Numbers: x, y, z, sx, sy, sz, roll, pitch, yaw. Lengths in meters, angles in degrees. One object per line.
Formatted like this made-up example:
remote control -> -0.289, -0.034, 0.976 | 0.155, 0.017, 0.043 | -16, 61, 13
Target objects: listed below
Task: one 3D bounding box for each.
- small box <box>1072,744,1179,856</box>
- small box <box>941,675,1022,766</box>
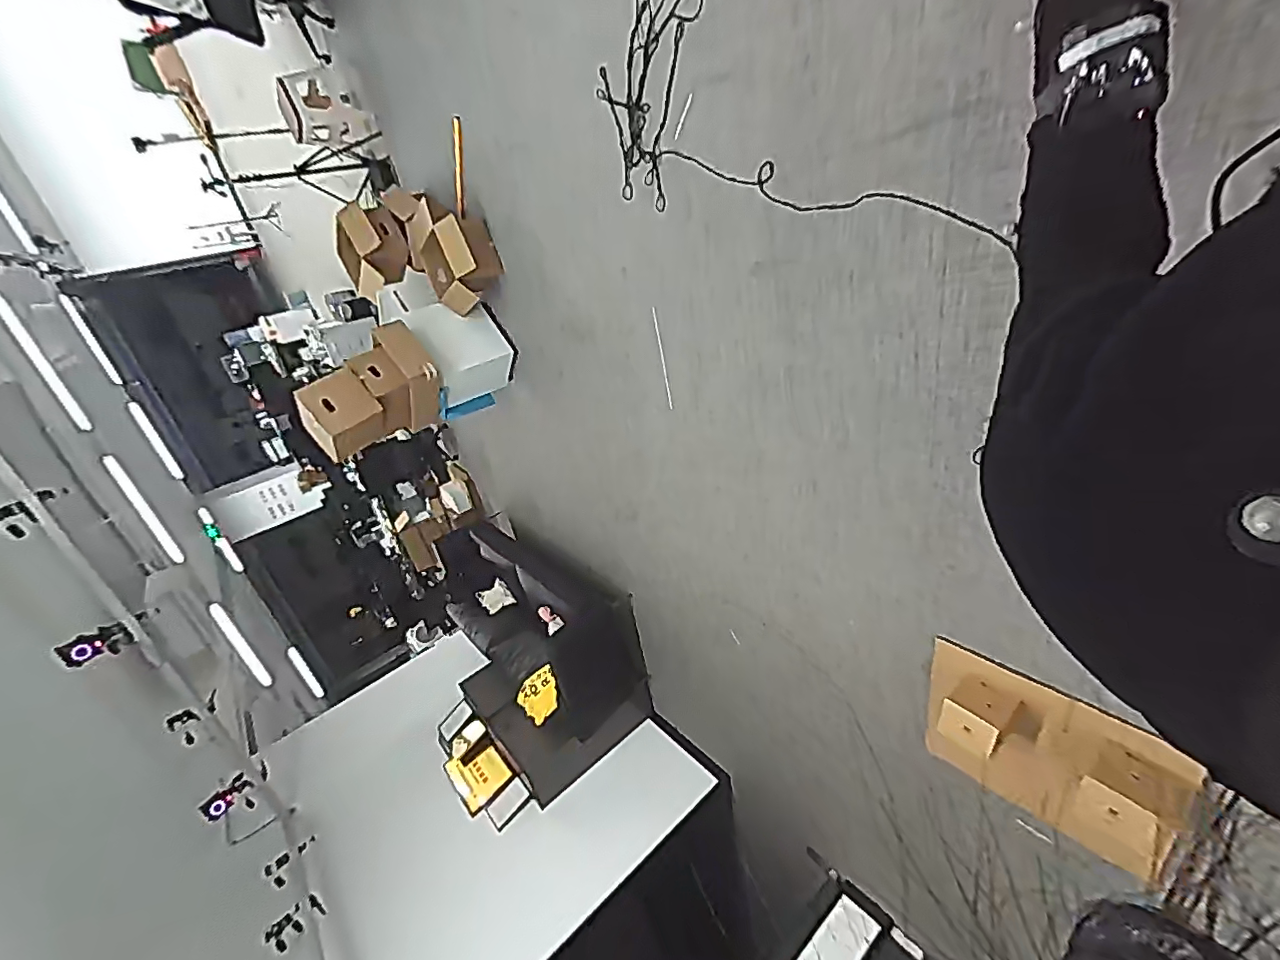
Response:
small box -> 1.362, 0.887, 1.515 | 0.168, 0.176, 0.179 | 28, 136, 44
small box -> 1.127, 0.786, 1.783 | 0.168, 0.176, 0.179 | 27, 136, 45
